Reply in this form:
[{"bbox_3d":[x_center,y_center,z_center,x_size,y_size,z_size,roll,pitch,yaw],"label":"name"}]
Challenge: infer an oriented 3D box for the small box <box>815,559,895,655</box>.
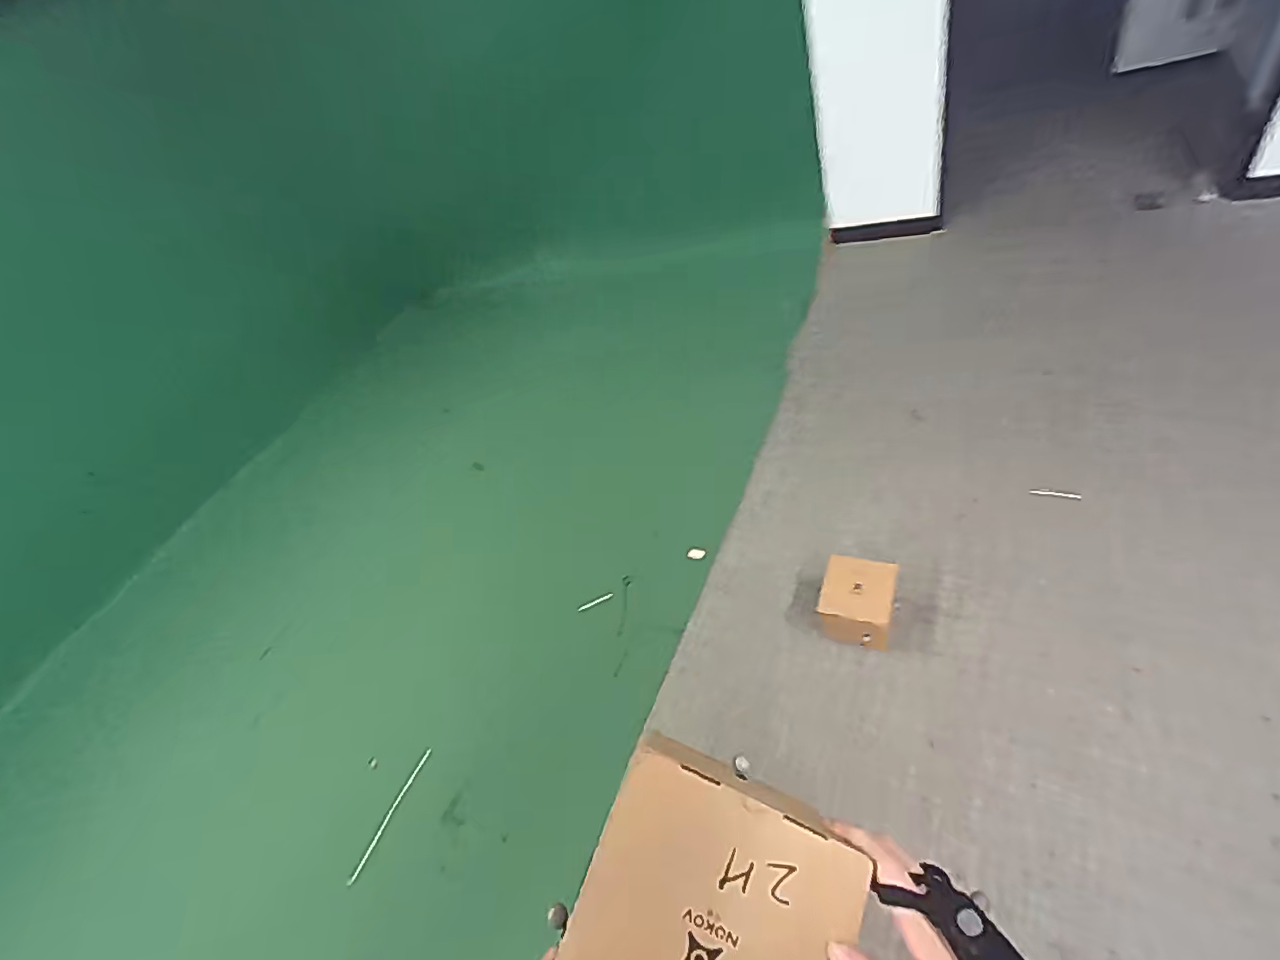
[{"bbox_3d":[0.576,0.339,1.433,0.168,0.176,0.179,8,54,30],"label":"small box"}]
